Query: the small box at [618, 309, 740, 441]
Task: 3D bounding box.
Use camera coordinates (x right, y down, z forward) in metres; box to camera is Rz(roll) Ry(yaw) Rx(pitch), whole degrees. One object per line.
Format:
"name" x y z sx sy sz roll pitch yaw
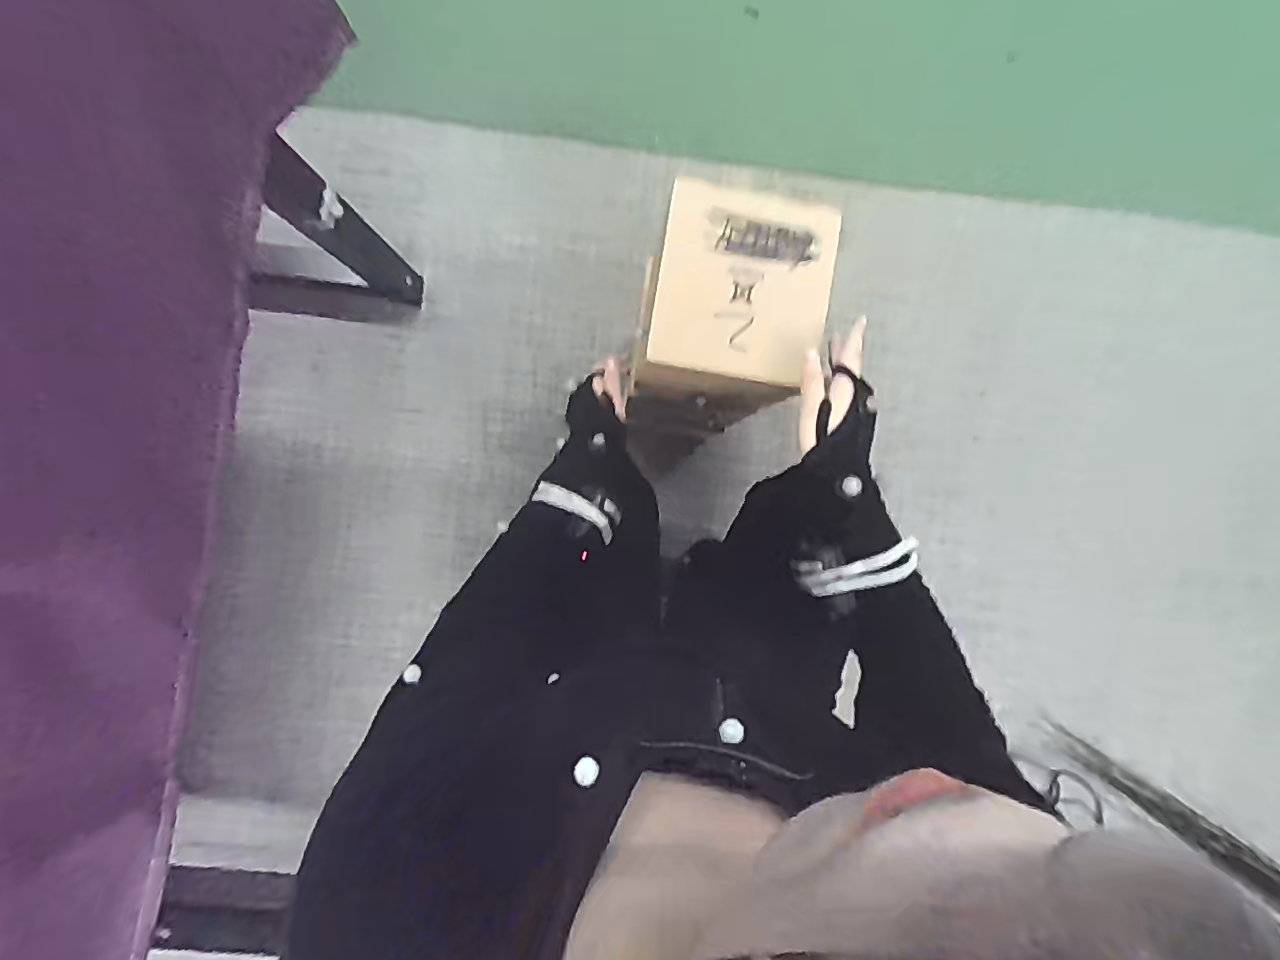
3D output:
"small box" 0.059 -0.167 0.923 0.168 0.176 0.179 10 89 -3
